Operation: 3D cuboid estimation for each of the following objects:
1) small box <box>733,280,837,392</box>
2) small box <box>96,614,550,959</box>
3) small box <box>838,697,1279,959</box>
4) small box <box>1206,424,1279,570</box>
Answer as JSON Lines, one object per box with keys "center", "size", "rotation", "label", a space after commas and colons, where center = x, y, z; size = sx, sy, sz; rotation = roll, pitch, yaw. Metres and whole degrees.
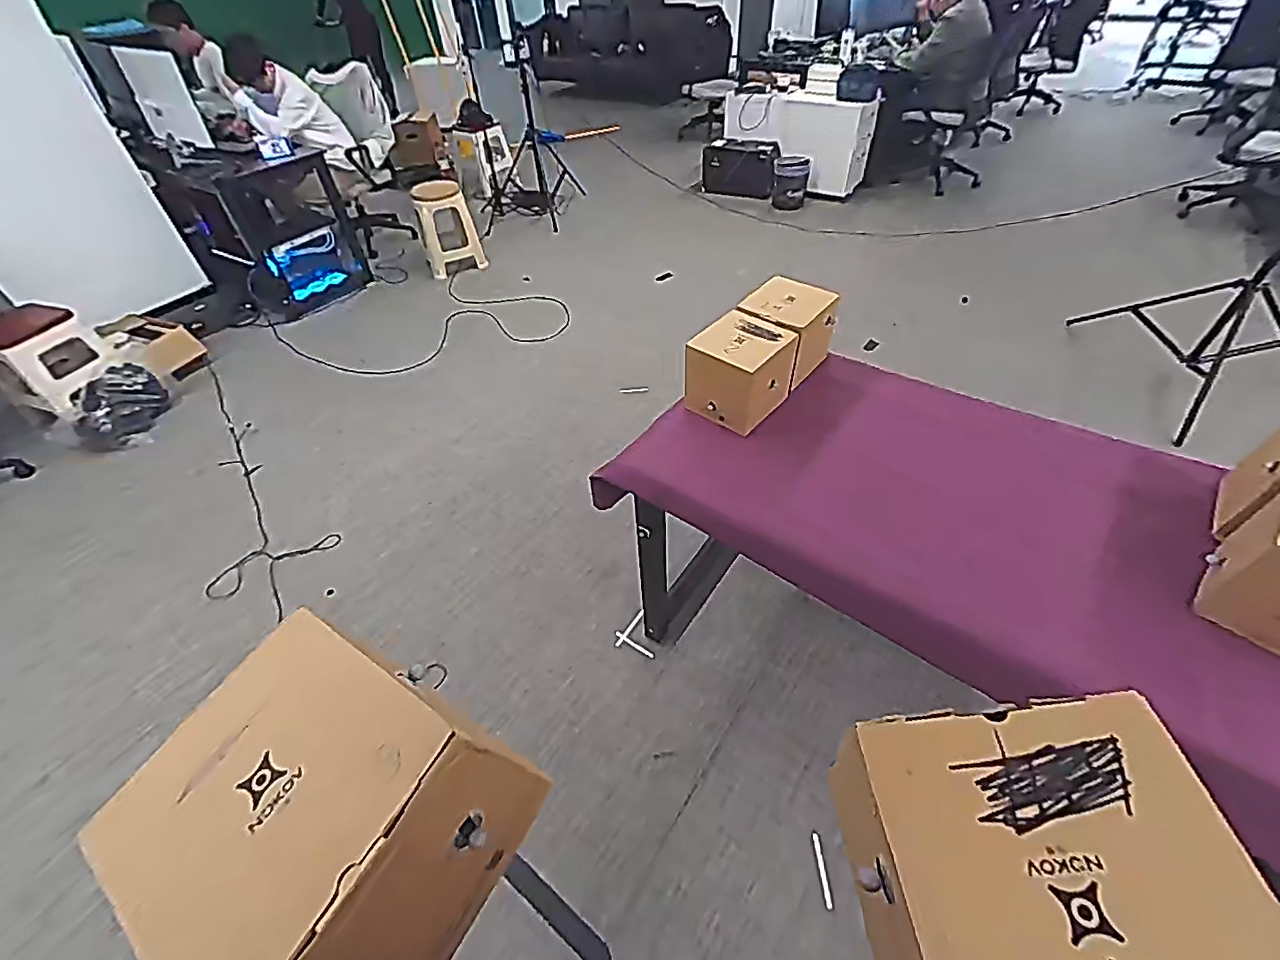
{"center": [0.331, -0.338, 1.267], "size": [0.168, 0.176, 0.179], "rotation": [30, 55, 28], "label": "small box"}
{"center": [-0.192, 0.228, 0.375], "size": [0.179, 0.176, 0.168], "rotation": [19, 59, 29], "label": "small box"}
{"center": [0.233, 0.255, 0.332], "size": [0.168, 0.176, 0.179], "rotation": [-9, 51, 5], "label": "small box"}
{"center": [1.070, 0.033, 0.867], "size": [0.168, 0.176, 0.179], "rotation": [30, 54, 28], "label": "small box"}
